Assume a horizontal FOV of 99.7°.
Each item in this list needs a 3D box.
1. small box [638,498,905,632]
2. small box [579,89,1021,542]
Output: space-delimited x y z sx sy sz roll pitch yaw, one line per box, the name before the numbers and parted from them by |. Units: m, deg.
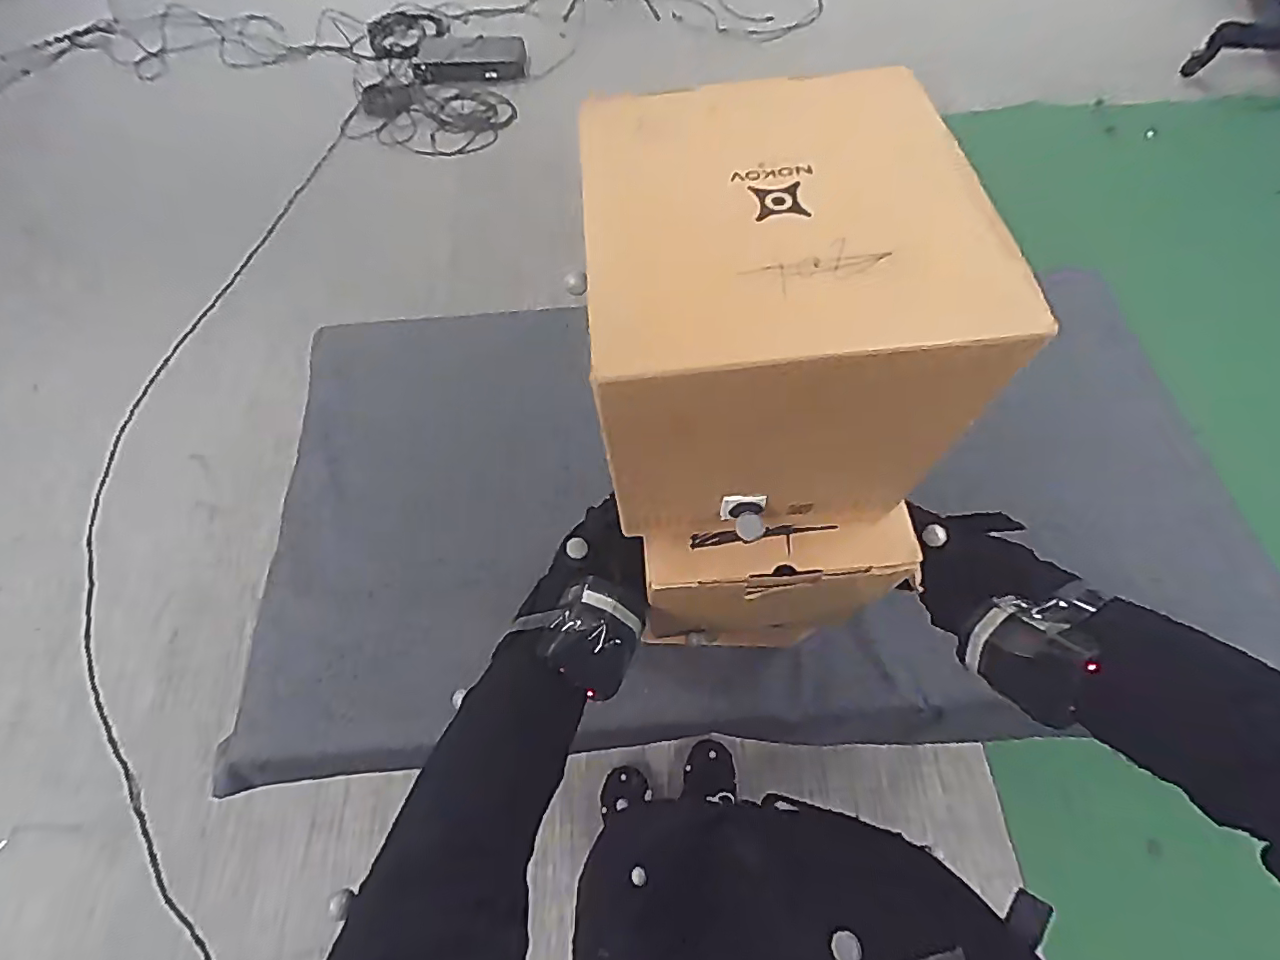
small box | 0.081 0.021 0.441 0.168 0.176 0.179 -8 64 0
small box | 0.060 -0.081 0.312 0.168 0.176 0.179 -7 63 1
